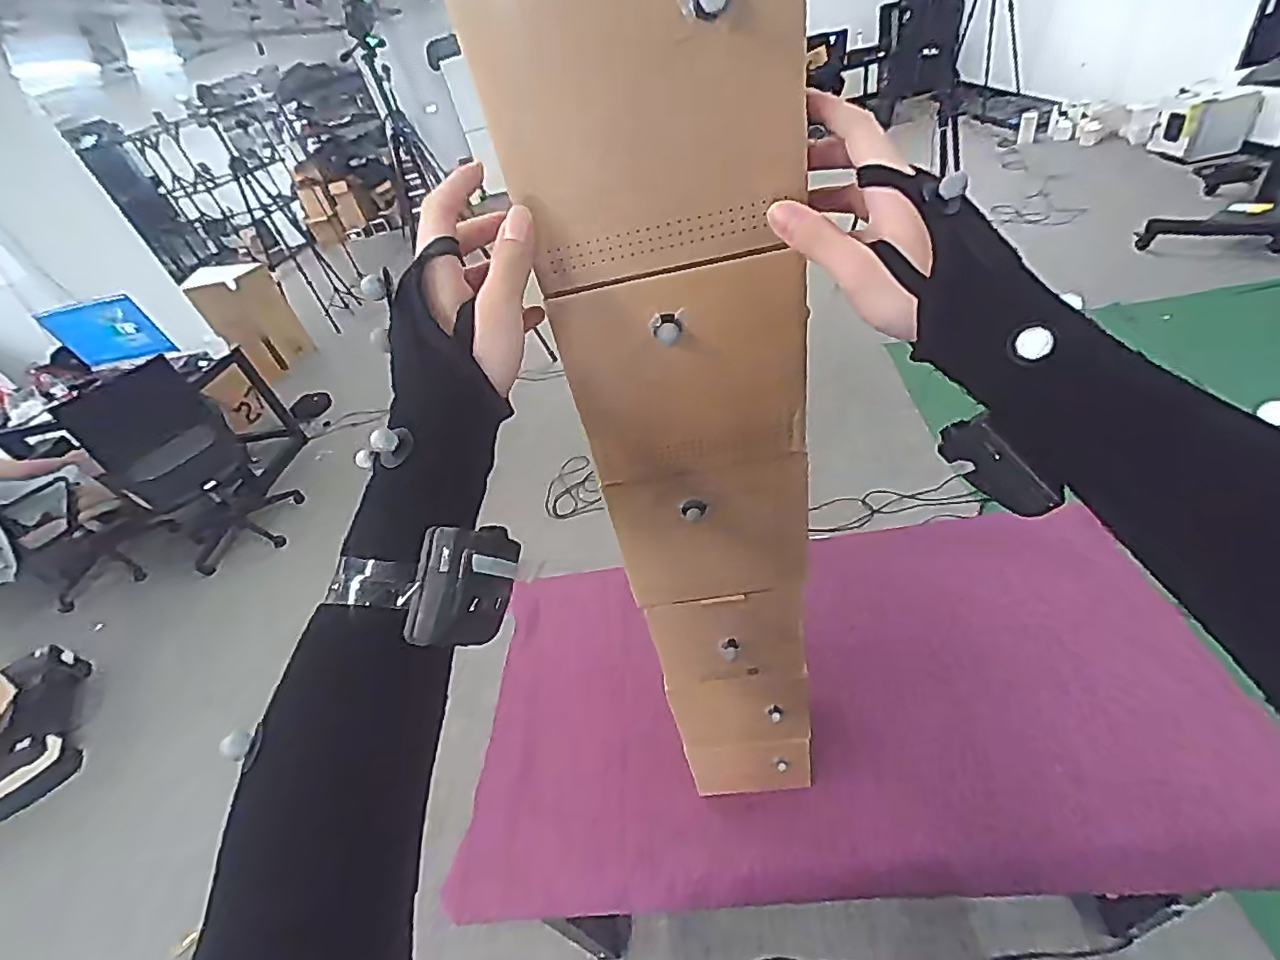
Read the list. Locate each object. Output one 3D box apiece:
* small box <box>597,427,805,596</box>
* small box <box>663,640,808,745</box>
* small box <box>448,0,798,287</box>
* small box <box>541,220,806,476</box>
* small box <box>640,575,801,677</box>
[{"bbox_3d":[0.065,0.002,0.558,0.179,0.176,0.168,-9,39,7],"label":"small box"},{"bbox_3d":[0.131,0.251,0.759,0.179,0.176,0.168,-9,39,9],"label":"small box"},{"bbox_3d":[0.004,-0.249,0.358,0.179,0.176,0.168,-9,39,8],"label":"small box"},{"bbox_3d":[0.035,-0.124,0.459,0.179,0.176,0.168,-10,38,8],"label":"small box"},{"bbox_3d":[0.097,0.124,0.663,0.168,0.176,0.179,-9,39,7],"label":"small box"}]
